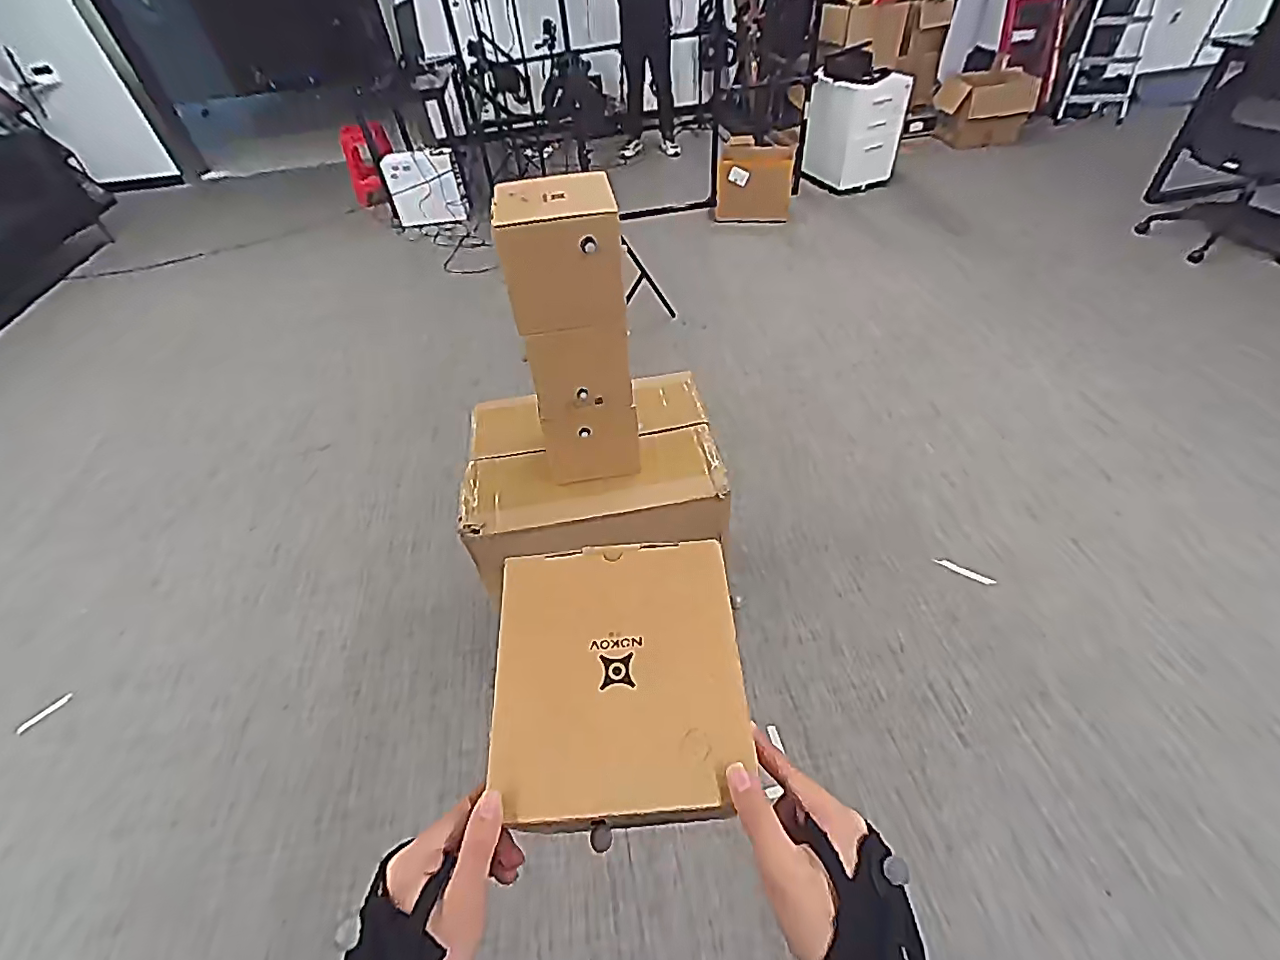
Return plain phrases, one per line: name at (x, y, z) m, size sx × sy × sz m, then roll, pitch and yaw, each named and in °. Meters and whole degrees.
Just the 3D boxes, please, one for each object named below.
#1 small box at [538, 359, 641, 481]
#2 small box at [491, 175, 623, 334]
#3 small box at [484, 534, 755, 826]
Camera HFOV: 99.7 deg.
small box at (-0.099, -0.116, 1.074) m, size 0.179 × 0.176 × 0.168 m, roll -9°, pitch 46°, yaw -4°
small box at (-0.122, -0.349, 0.842) m, size 0.179 × 0.176 × 0.168 m, roll -9°, pitch 46°, yaw -3°
small box at (-0.011, 0.165, 0.429) m, size 0.168 × 0.176 × 0.179 m, roll -6°, pitch 54°, yaw 1°
